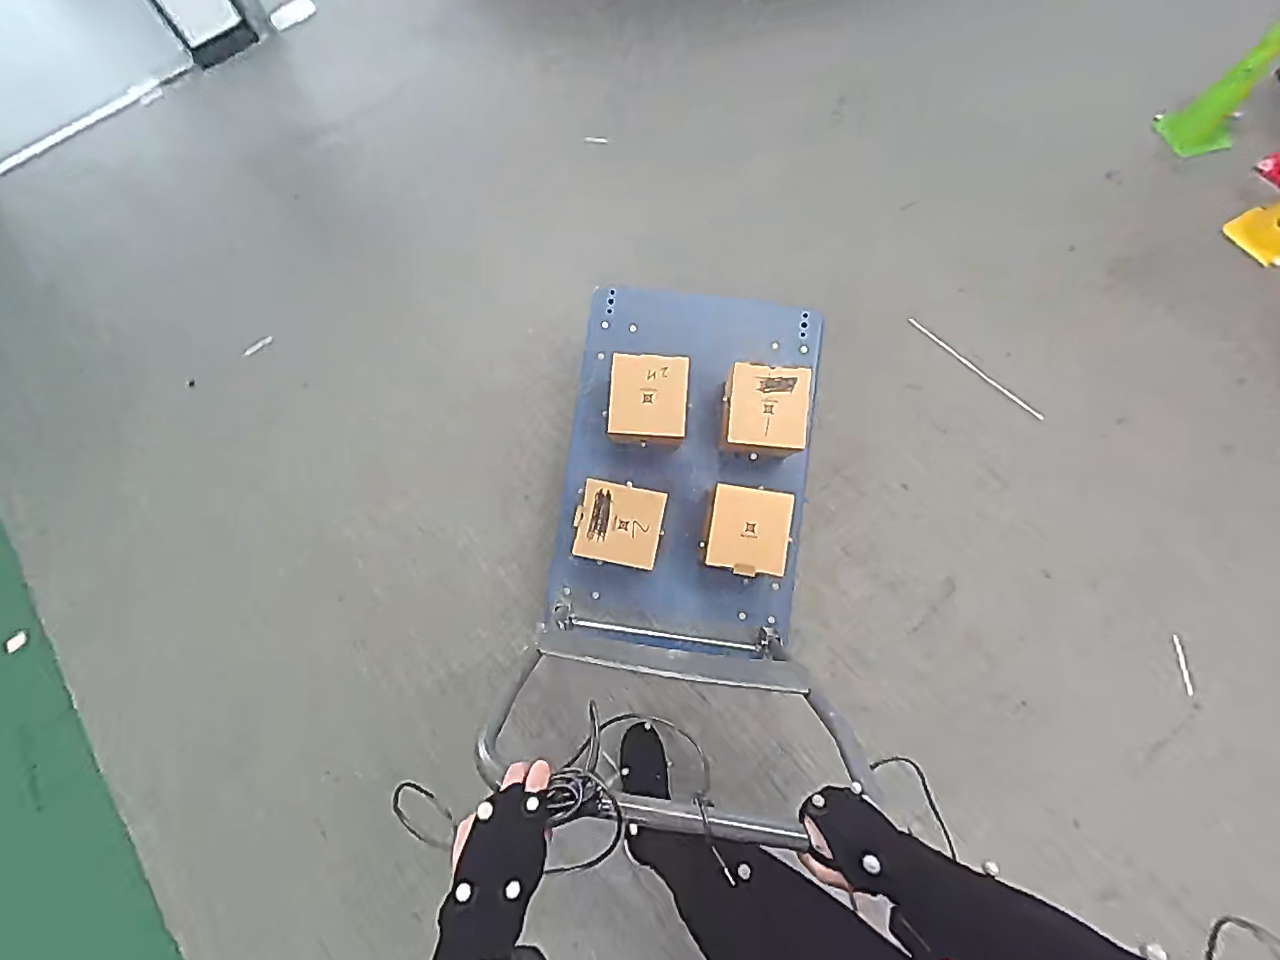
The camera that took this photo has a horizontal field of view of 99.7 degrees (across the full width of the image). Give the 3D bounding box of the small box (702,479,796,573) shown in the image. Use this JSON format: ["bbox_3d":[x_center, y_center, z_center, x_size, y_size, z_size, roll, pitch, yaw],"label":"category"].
[{"bbox_3d":[0.235,0.100,1.207,0.168,0.176,0.179,9,87,3],"label":"small box"}]

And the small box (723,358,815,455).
[{"bbox_3d":[0.283,-0.160,1.222,0.168,0.176,0.179,6,87,3],"label":"small box"}]

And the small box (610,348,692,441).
[{"bbox_3d":[0.027,-0.187,1.233,0.168,0.176,0.179,5,86,2],"label":"small box"}]
